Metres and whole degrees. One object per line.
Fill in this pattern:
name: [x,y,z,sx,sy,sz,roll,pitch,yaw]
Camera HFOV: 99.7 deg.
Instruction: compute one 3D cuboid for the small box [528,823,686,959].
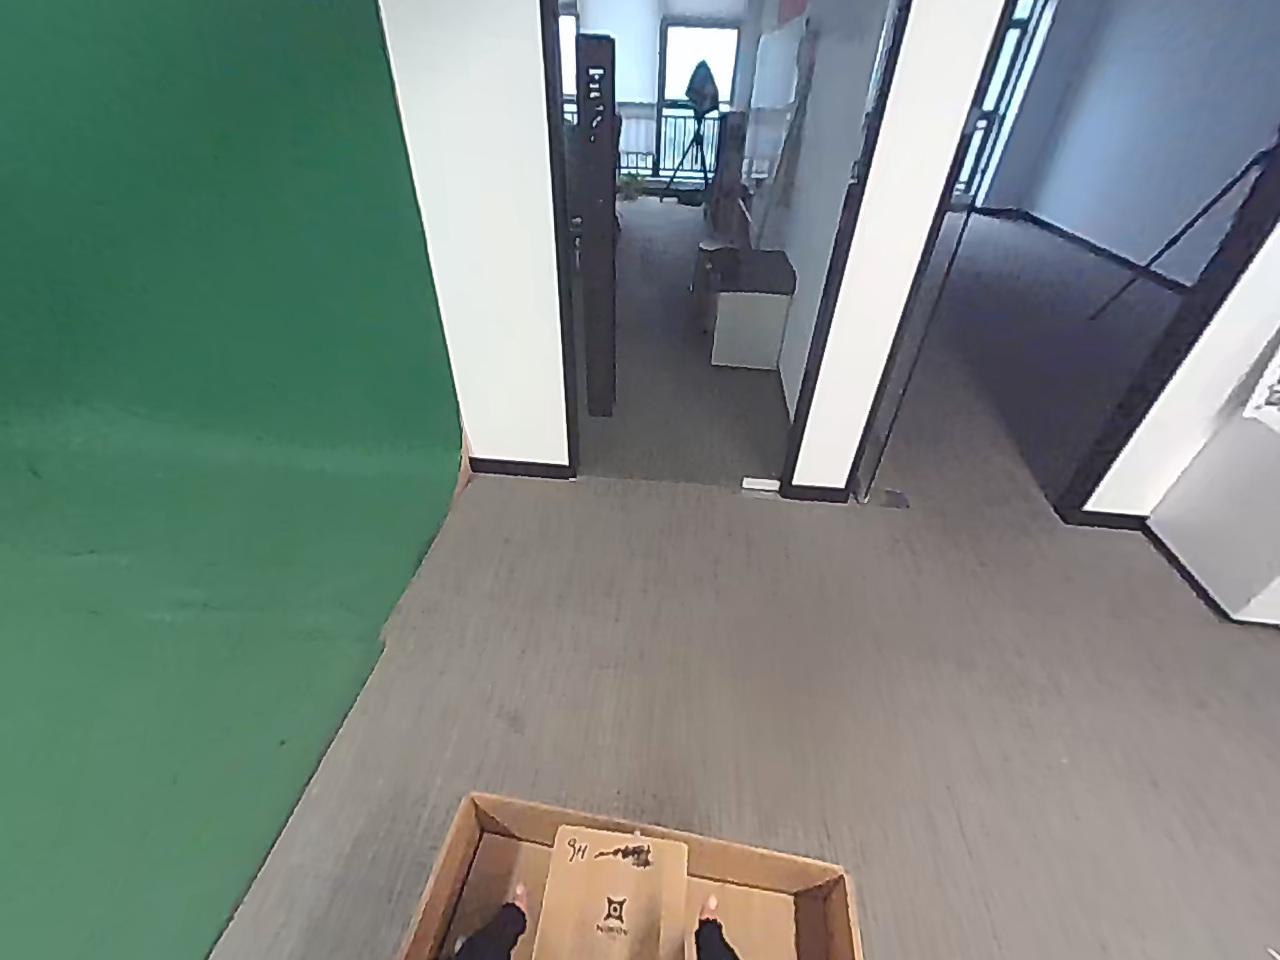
small box: [-0.038,0.554,0.655,0.168,0.176,0.179,8,38,2]
